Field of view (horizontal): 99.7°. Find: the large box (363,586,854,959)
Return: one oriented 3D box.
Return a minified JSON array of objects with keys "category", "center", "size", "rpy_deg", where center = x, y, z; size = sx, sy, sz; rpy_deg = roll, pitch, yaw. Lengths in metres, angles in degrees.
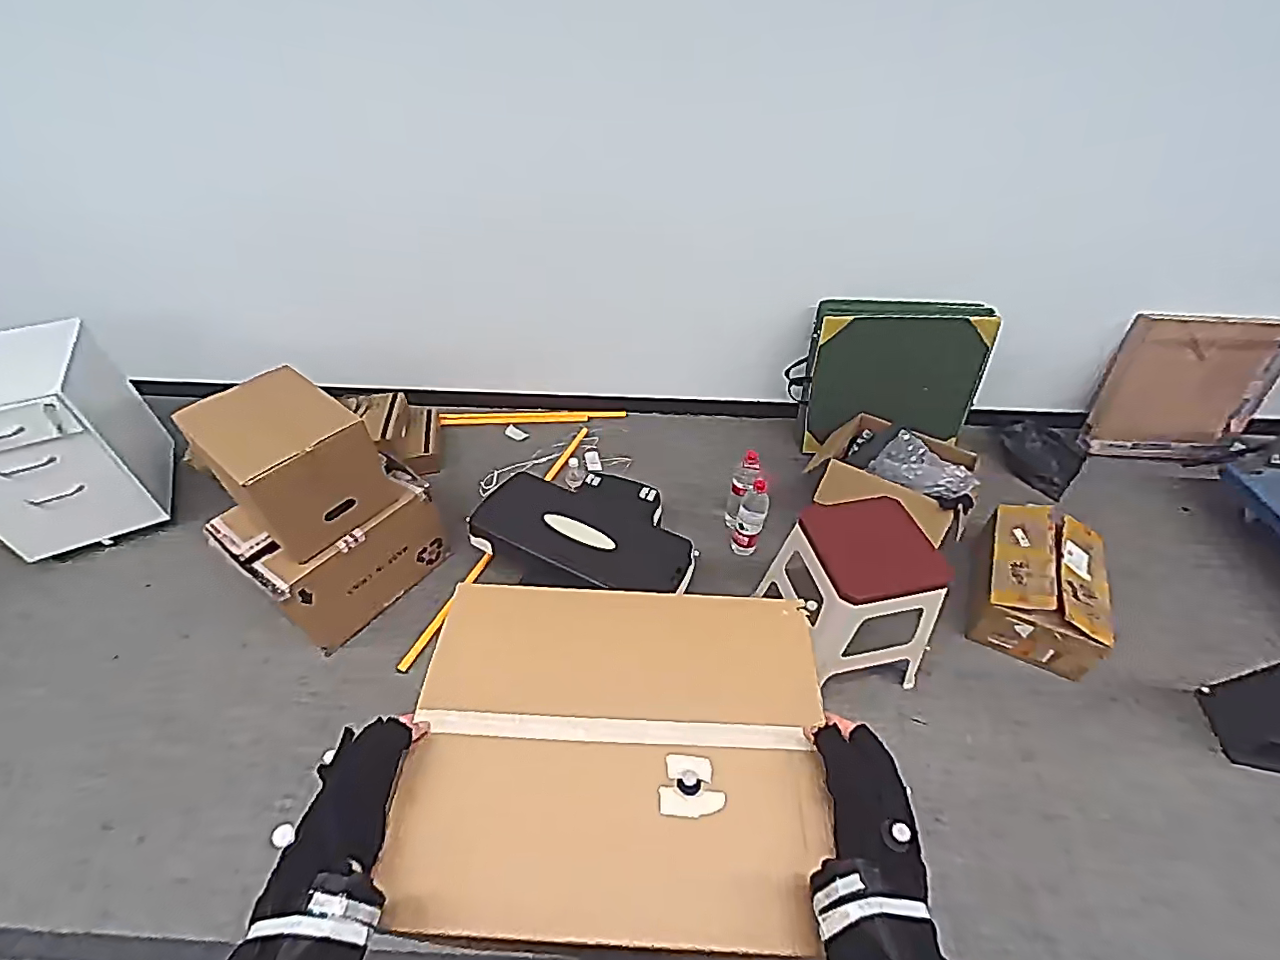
[{"category":"large box","center":[-0.026,0.347,0.639],"size":[0.408,0.320,0.320],"rpy_deg":[3,47,1]}]
